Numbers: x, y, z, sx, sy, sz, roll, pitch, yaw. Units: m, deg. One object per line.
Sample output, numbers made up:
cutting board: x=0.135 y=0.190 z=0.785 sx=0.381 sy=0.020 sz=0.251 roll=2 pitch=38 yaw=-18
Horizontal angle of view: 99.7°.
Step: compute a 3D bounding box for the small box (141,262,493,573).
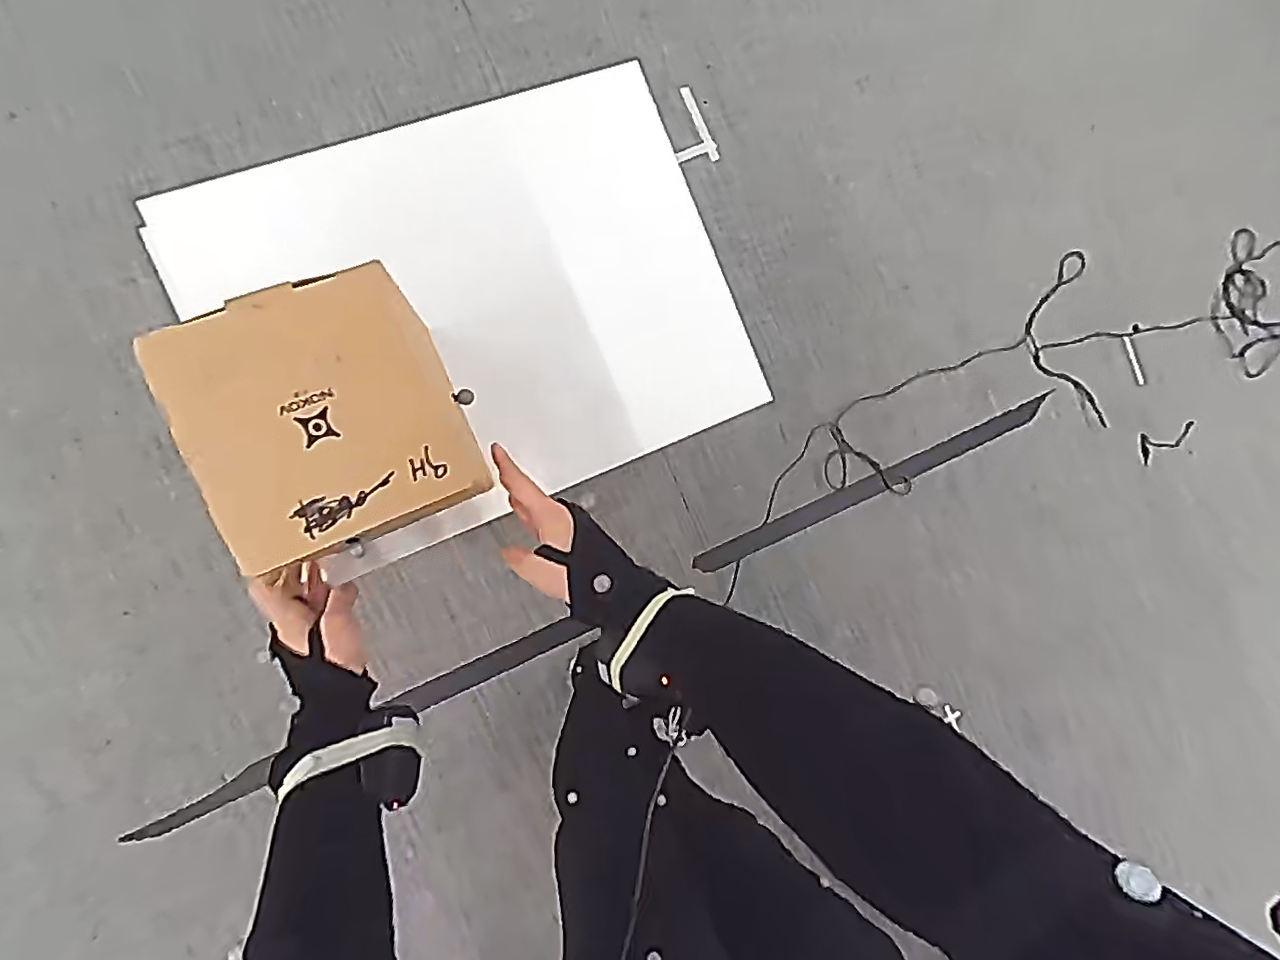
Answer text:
small box: x=-0.235 y=-0.042 z=0.447 sx=0.168 sy=0.176 sz=0.179 roll=-24 pitch=92 yaw=-11
